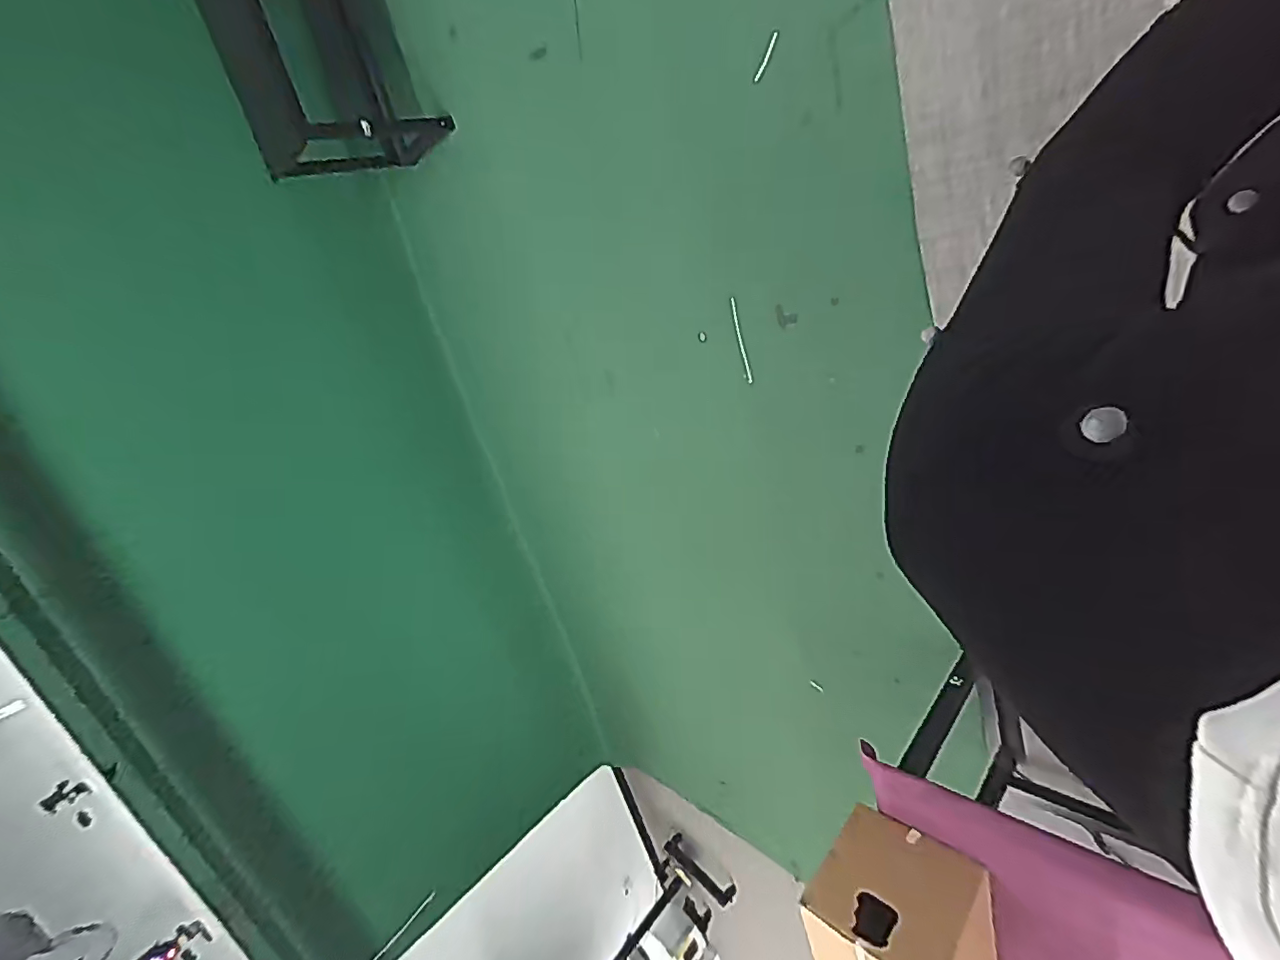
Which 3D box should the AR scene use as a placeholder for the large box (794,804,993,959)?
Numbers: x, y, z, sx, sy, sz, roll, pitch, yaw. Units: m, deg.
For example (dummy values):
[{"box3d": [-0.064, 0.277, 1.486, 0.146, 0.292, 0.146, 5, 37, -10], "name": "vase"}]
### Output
[{"box3d": [0.623, 1.109, 1.304, 0.320, 0.320, 0.408, 3, 116, 47], "name": "large box"}]
